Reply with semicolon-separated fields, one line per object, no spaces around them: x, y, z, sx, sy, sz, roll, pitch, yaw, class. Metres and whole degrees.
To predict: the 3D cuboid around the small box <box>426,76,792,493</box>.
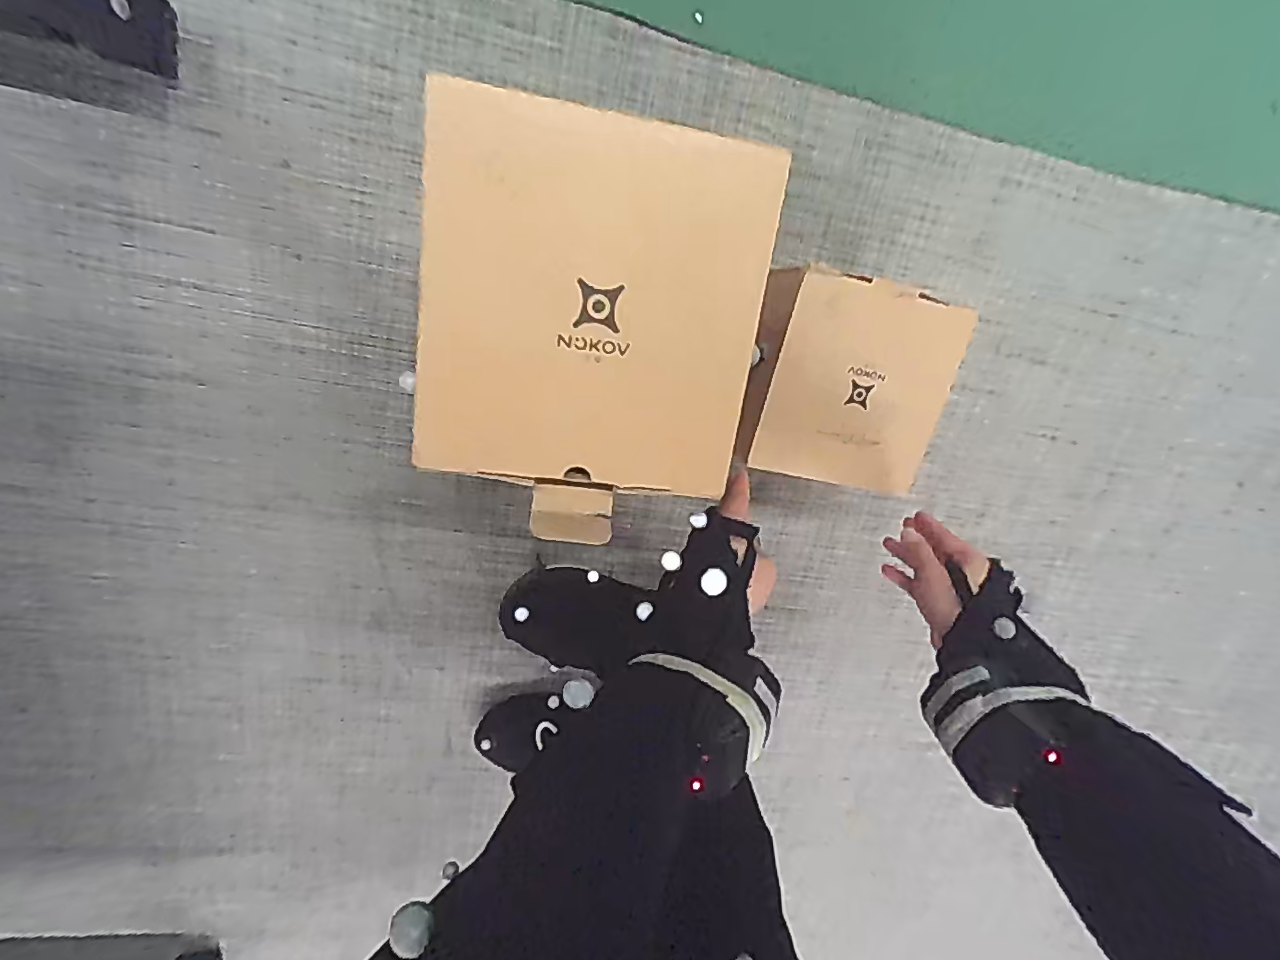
-0.030;-0.106;0.342;0.168;0.176;0.179;6;107;-11;small box

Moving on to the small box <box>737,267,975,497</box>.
0.184;-0.103;0.550;0.168;0.176;0.179;10;107;-10;small box
